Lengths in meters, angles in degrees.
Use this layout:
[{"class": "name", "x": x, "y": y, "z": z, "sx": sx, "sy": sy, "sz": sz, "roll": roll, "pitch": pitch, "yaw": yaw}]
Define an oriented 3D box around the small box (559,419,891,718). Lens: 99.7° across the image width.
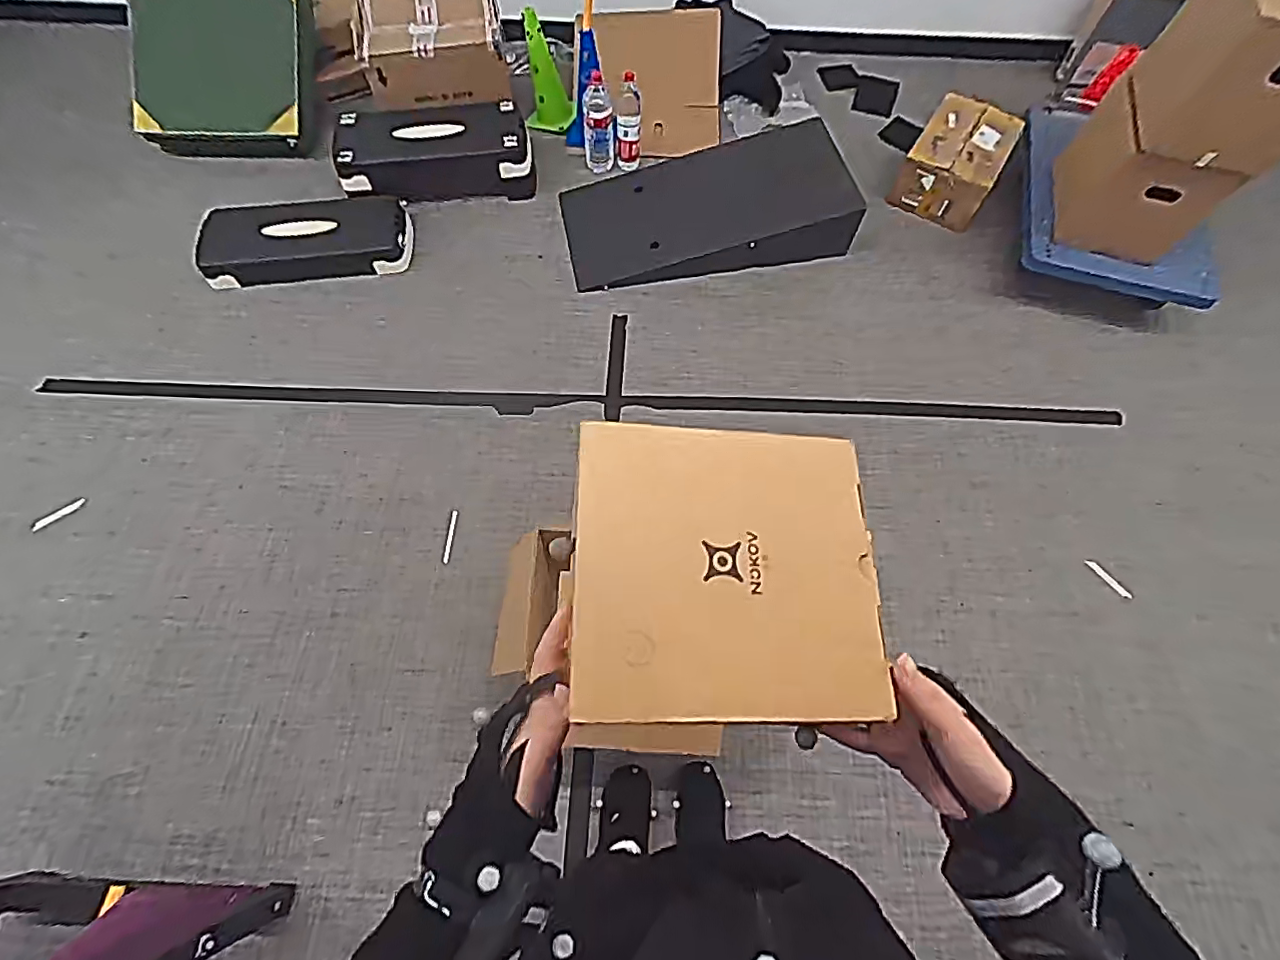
[{"class": "small box", "x": 0.036, "y": 0.073, "z": 0.376, "sx": 0.179, "sy": 0.176, "sz": 0.168, "roll": 4, "pitch": 69, "yaw": -9}]
